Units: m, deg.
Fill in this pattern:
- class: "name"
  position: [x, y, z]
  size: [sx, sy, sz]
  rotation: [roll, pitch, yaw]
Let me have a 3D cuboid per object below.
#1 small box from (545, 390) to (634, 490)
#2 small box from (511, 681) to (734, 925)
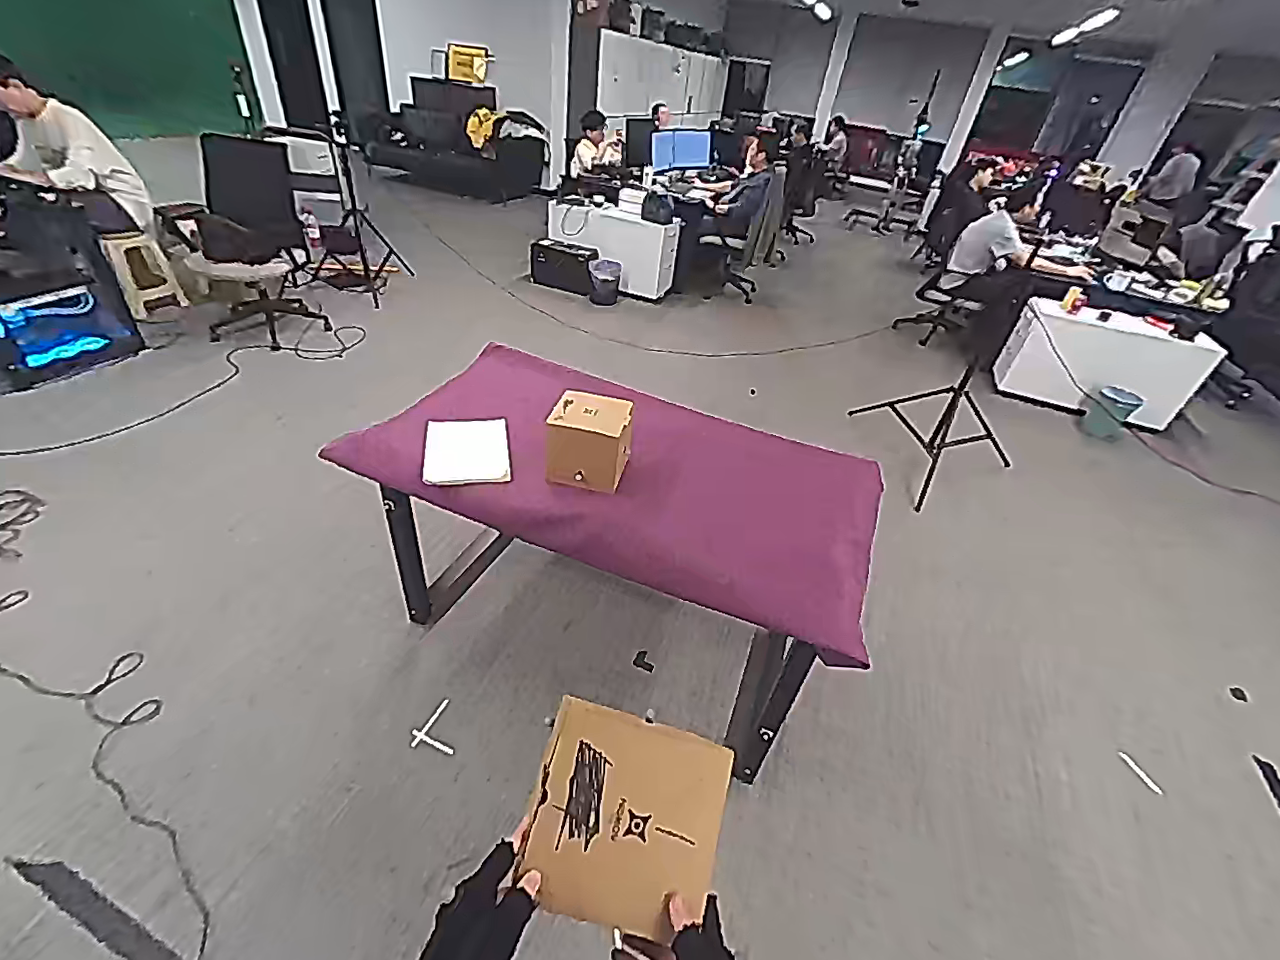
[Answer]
- class: "small box"
  position: [-0.124, -0.096, 1.321]
  size: [0.179, 0.176, 0.168]
  rotation: [12, 37, 5]
- class: "small box"
  position: [-0.022, 0.324, 0.578]
  size: [0.179, 0.176, 0.168]
  rotation: [18, 69, -3]
